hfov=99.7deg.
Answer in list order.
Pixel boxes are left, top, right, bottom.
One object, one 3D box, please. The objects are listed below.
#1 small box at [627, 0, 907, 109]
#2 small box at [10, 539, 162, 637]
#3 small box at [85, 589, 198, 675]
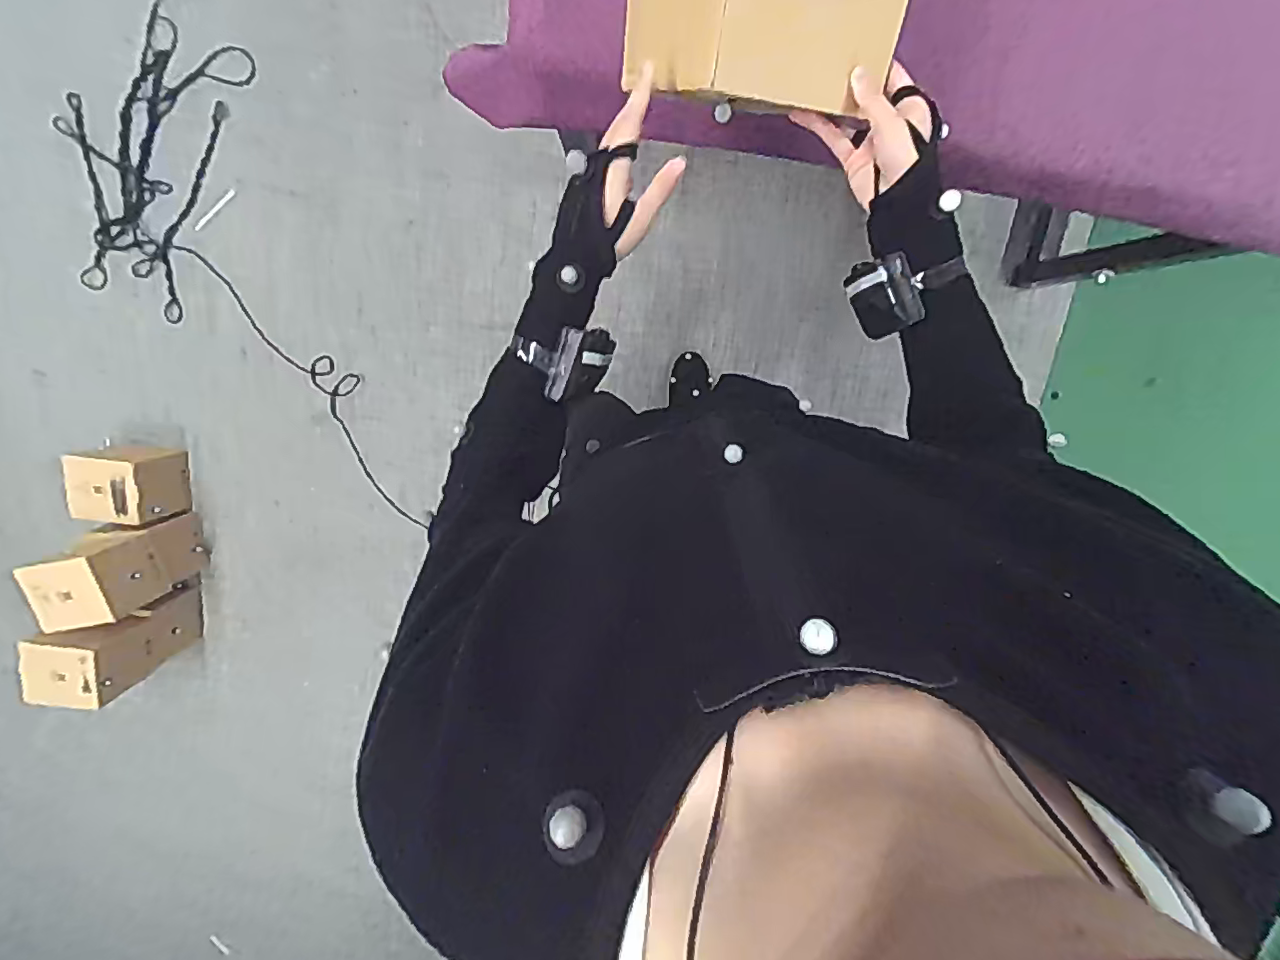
[{"bbox_3d":[0.099,-0.413,0.433,0.168,0.176,0.179,-9,124,-25],"label":"small box"},{"bbox_3d":[-1.311,0.252,1.300,0.179,0.176,0.168,-9,103,2],"label":"small box"},{"bbox_3d":[-1.375,0.412,1.503,0.168,0.176,0.179,7,103,-2],"label":"small box"}]
